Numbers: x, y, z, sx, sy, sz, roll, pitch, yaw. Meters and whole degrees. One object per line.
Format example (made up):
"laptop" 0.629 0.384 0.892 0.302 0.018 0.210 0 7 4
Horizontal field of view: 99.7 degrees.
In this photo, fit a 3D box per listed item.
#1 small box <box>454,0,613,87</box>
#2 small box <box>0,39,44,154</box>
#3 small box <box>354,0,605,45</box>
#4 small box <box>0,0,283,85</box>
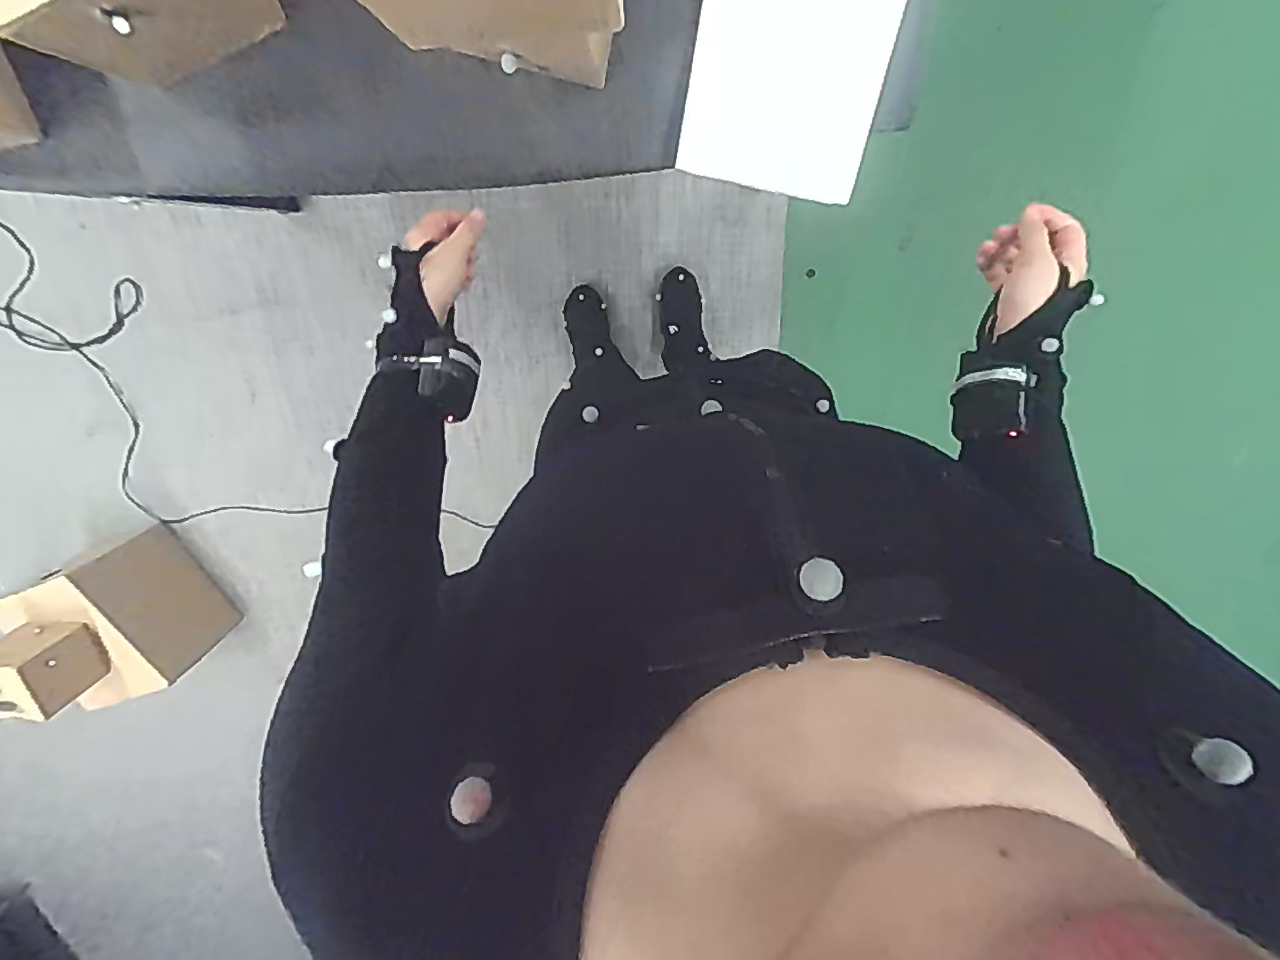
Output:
"small box" -0.109 -0.484 0.470 0.168 0.176 0.179 13 113 -2
"small box" -0.774 -0.427 0.524 0.168 0.176 0.179 -7 113 5
"small box" -0.112 -0.399 0.330 0.179 0.176 0.168 -2 112 4
"small box" -0.480 -0.495 0.485 0.179 0.176 0.168 -17 112 8
